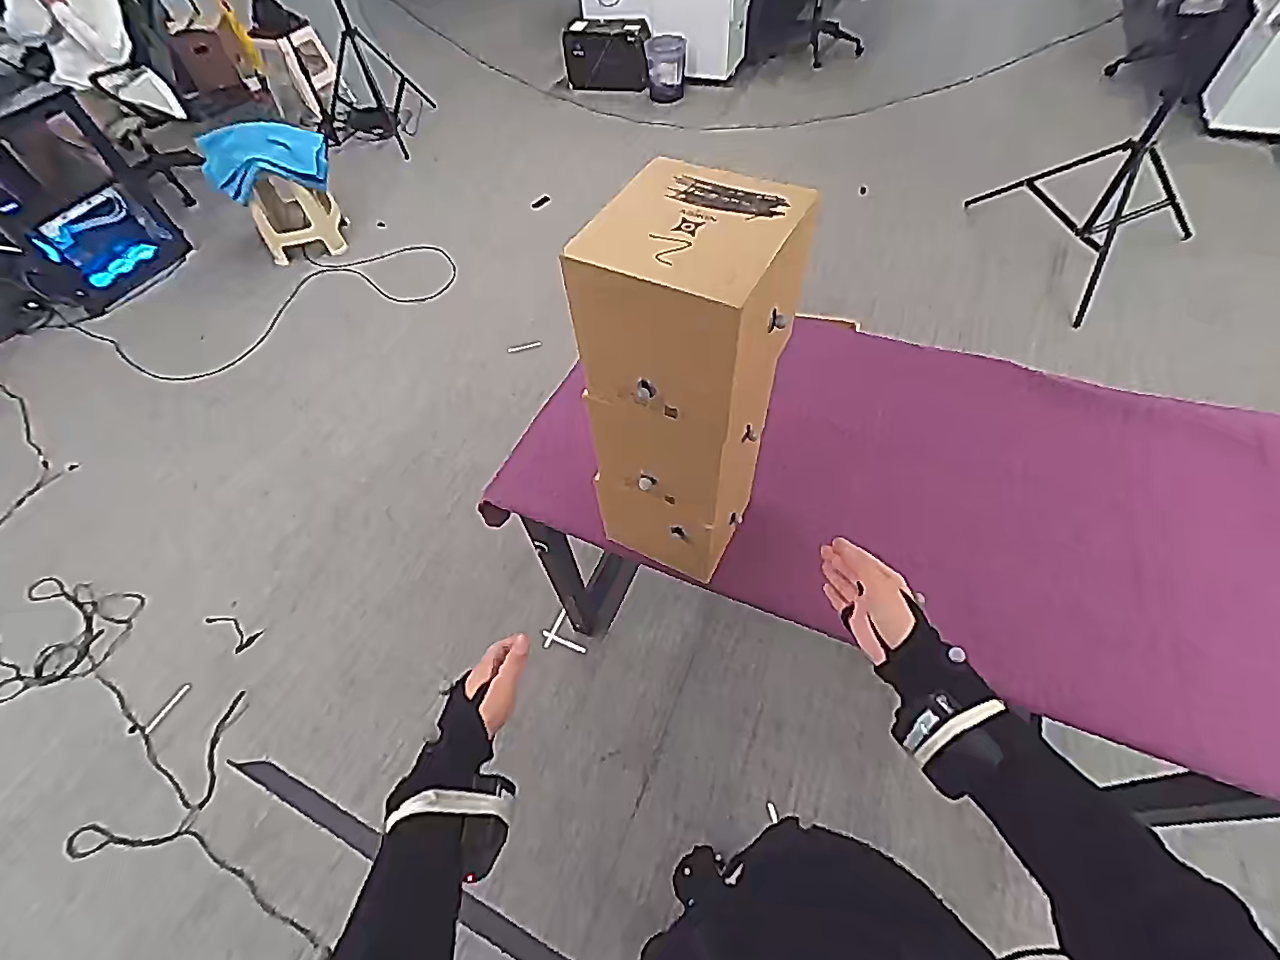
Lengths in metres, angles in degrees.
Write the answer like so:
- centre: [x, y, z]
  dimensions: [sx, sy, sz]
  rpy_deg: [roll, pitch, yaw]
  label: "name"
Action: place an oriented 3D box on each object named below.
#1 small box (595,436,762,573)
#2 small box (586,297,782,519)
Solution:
- centre: [0.058, 0.014, 0.791]
  dimensions: [0.179, 0.176, 0.168]
  rpy_deg: [22, 60, 19]
  label: "small box"
- centre: [0.055, -0.085, 0.659]
  dimensions: [0.168, 0.176, 0.179]
  rpy_deg: [22, 61, 18]
  label: "small box"
